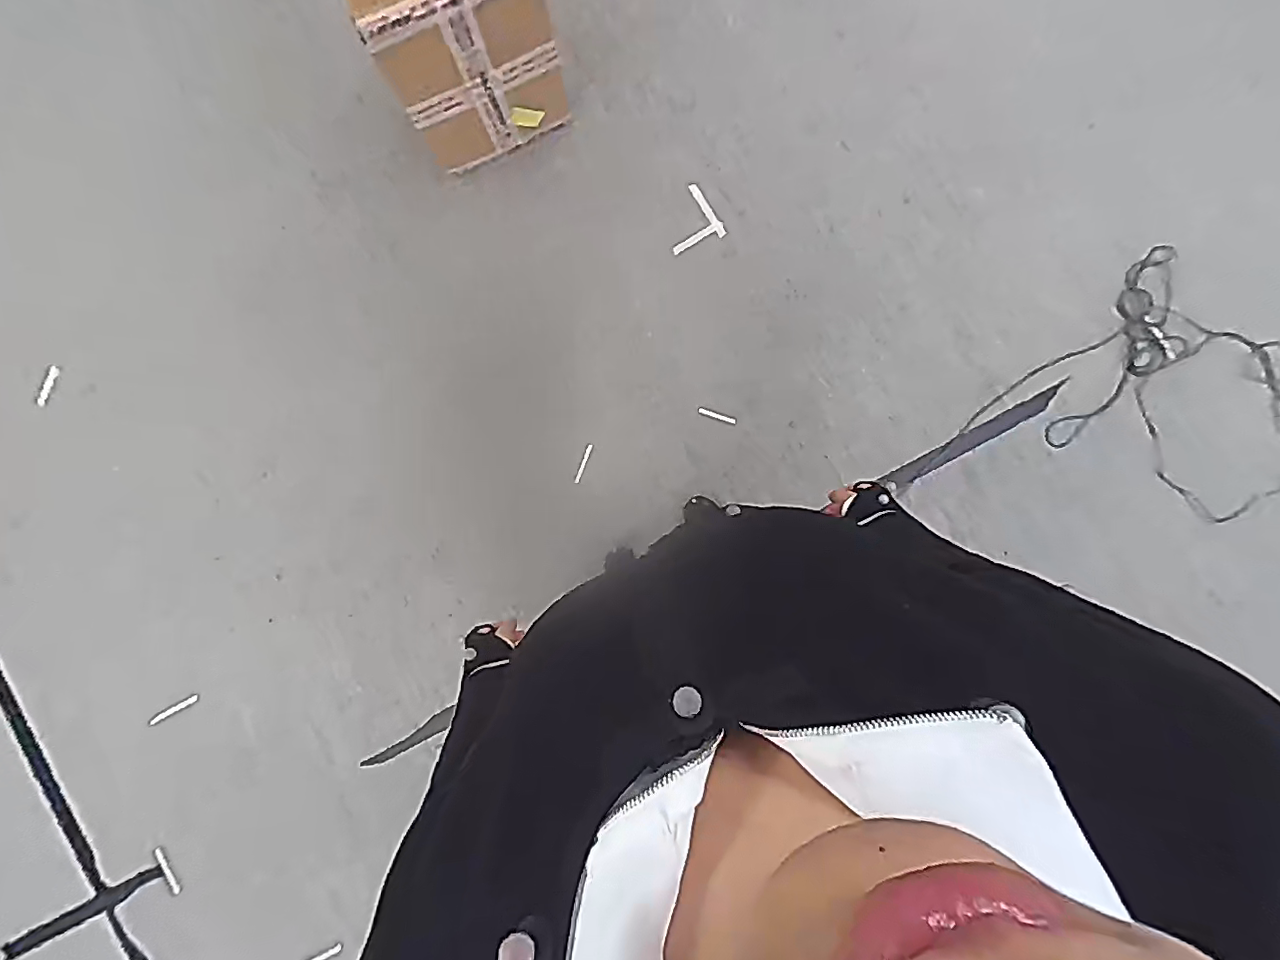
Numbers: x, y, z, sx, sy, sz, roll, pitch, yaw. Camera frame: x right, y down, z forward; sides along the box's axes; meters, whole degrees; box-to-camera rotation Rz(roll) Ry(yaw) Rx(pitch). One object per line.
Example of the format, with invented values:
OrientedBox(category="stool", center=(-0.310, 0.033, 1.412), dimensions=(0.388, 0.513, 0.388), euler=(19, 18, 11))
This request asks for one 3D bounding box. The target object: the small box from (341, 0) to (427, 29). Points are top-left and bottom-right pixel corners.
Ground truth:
OrientedBox(category="small box", center=(-0.518, -1.017, 1.017), dimensions=(0.179, 0.176, 0.168), euler=(-21, 89, 2))
